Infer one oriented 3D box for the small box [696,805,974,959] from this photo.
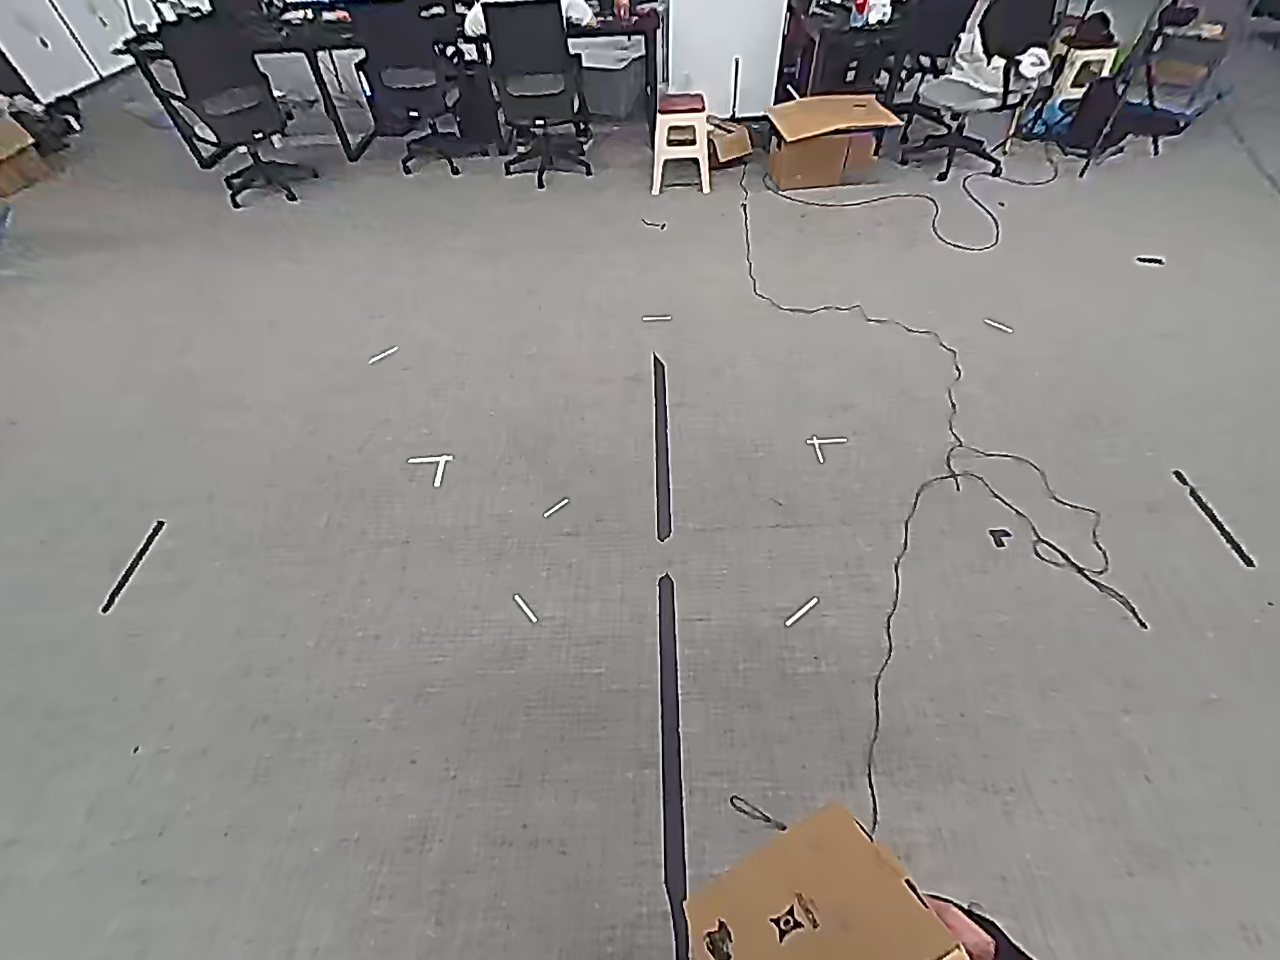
[{"bbox_3d":[0.173,0.424,0.439,0.179,0.168,0.176,-28,91,-6],"label":"small box"}]
